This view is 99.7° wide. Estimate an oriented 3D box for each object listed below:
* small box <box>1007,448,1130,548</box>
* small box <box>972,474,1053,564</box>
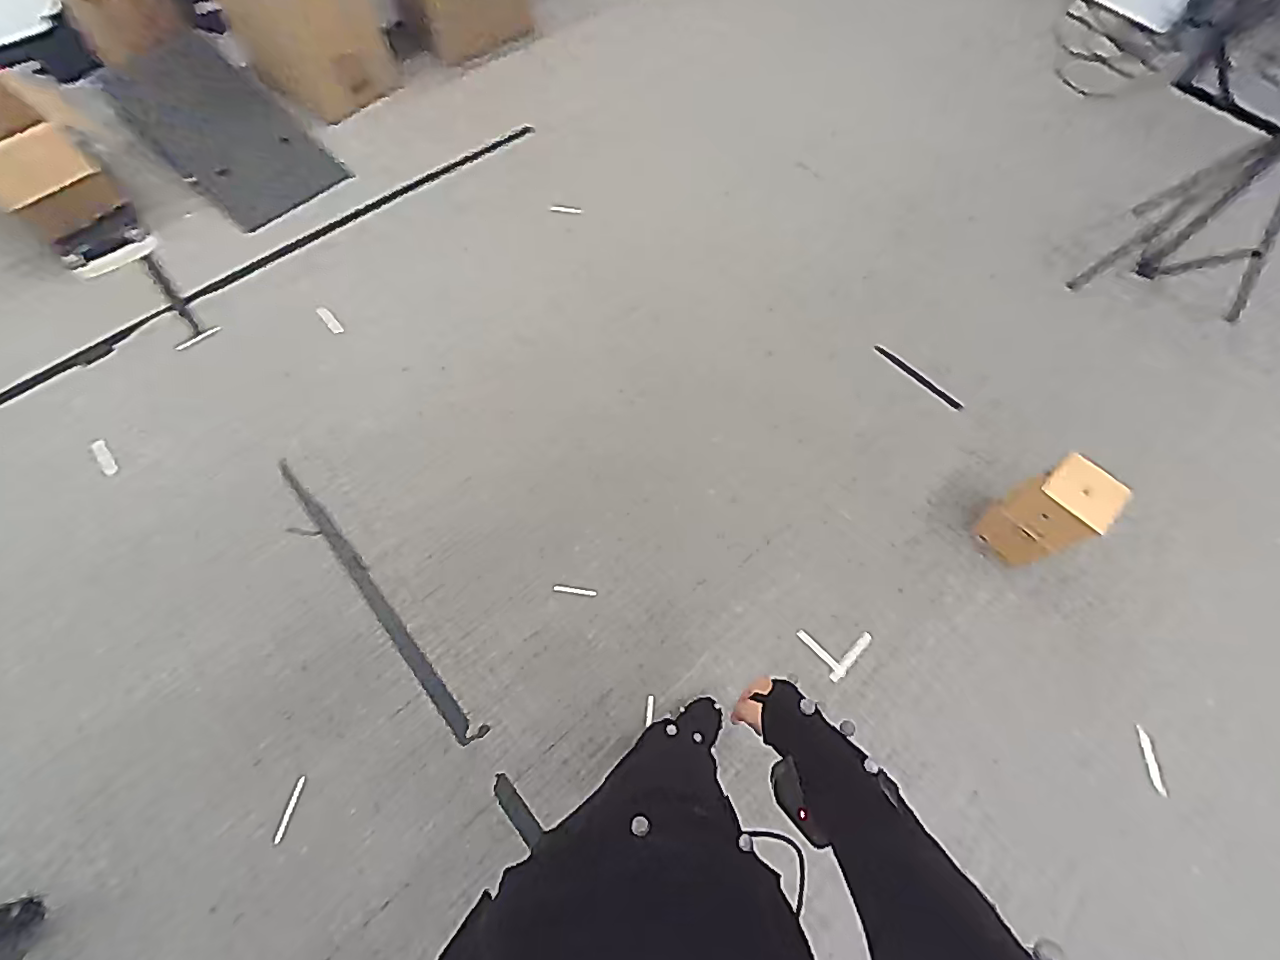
[{"bbox_3d":[1.130,0.054,1.443,0.179,0.176,0.168,-41,73,-19],"label":"small box"},{"bbox_3d":[1.122,0.121,1.591,0.179,0.176,0.168,-41,73,-19],"label":"small box"}]
